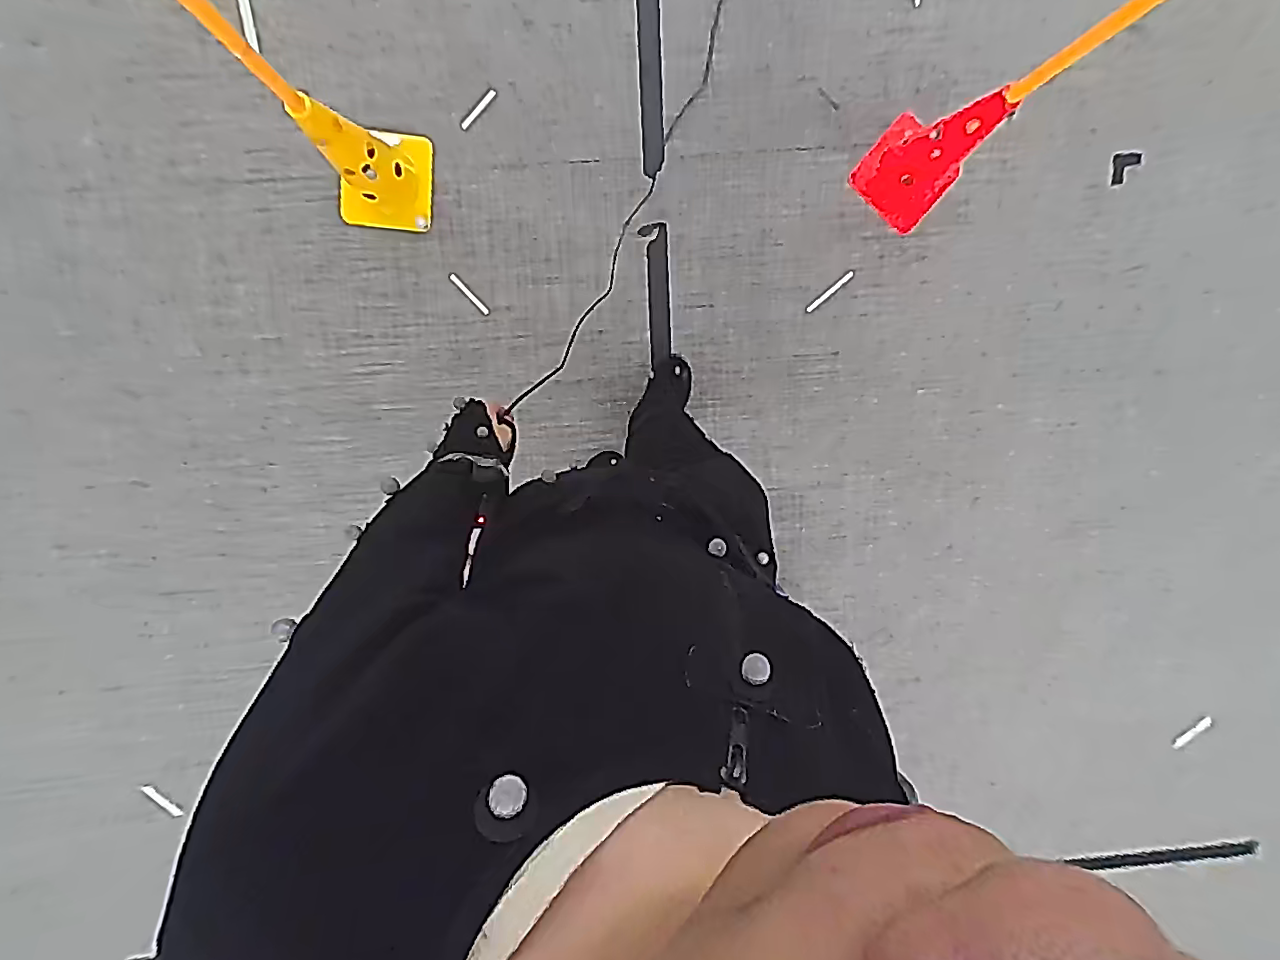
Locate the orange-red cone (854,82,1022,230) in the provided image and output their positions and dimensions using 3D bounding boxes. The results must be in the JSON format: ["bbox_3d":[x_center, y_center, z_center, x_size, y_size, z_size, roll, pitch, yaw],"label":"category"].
[{"bbox_3d":[0.624,-0.681,1.086,0.198,0.360,0.199,41,97,-8],"label":"orange-red cone"}]
